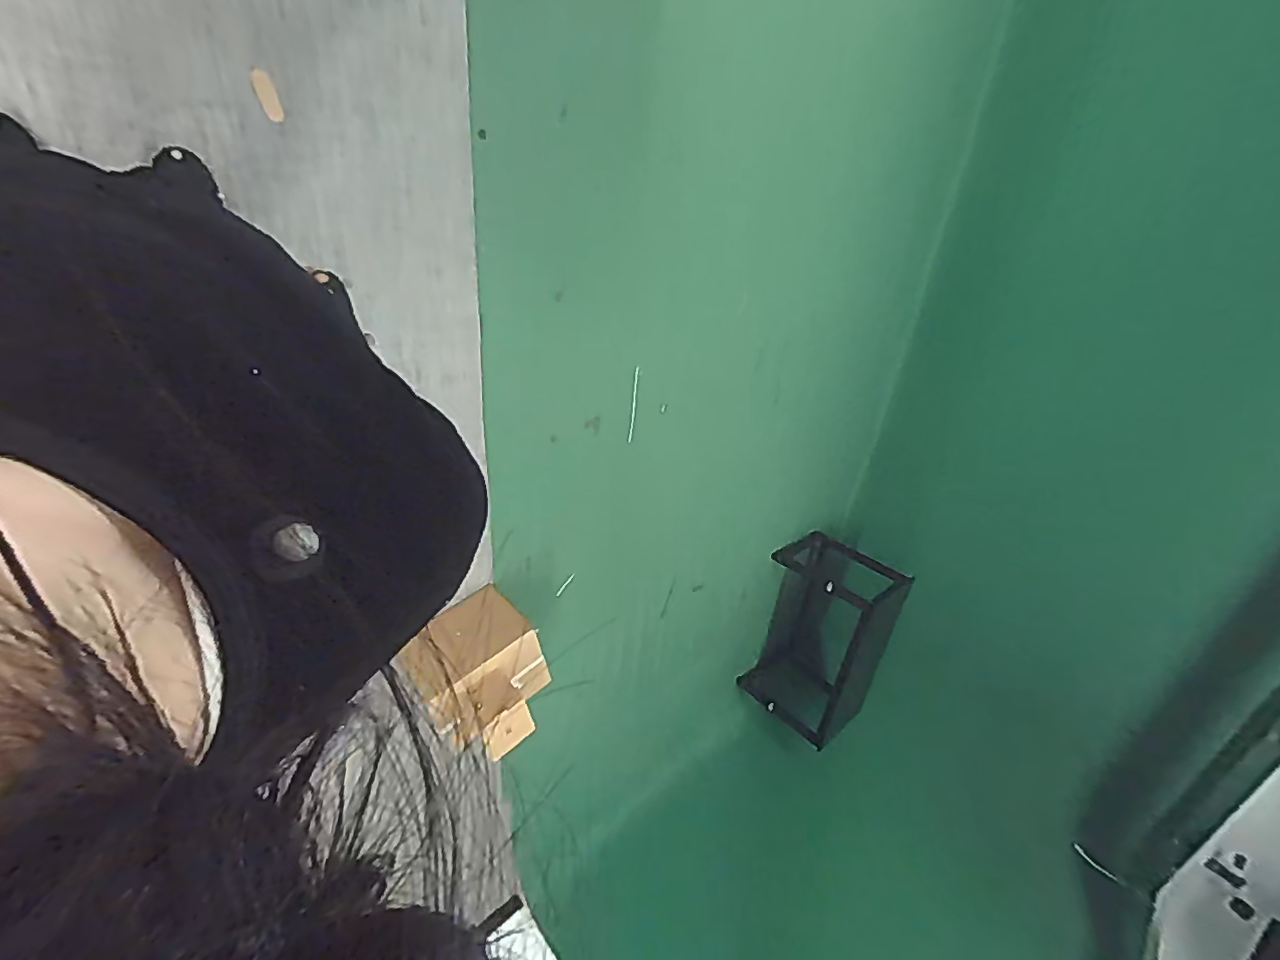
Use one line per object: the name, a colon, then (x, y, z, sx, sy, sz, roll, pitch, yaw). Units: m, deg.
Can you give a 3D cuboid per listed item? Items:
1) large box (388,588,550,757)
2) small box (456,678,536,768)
large box: (-0.596, 0.665, 1.916, 0.408, 0.320, 0.320, -33, 134, -31)
small box: (-0.463, 0.766, 1.730, 0.168, 0.176, 0.179, -31, 131, -31)
